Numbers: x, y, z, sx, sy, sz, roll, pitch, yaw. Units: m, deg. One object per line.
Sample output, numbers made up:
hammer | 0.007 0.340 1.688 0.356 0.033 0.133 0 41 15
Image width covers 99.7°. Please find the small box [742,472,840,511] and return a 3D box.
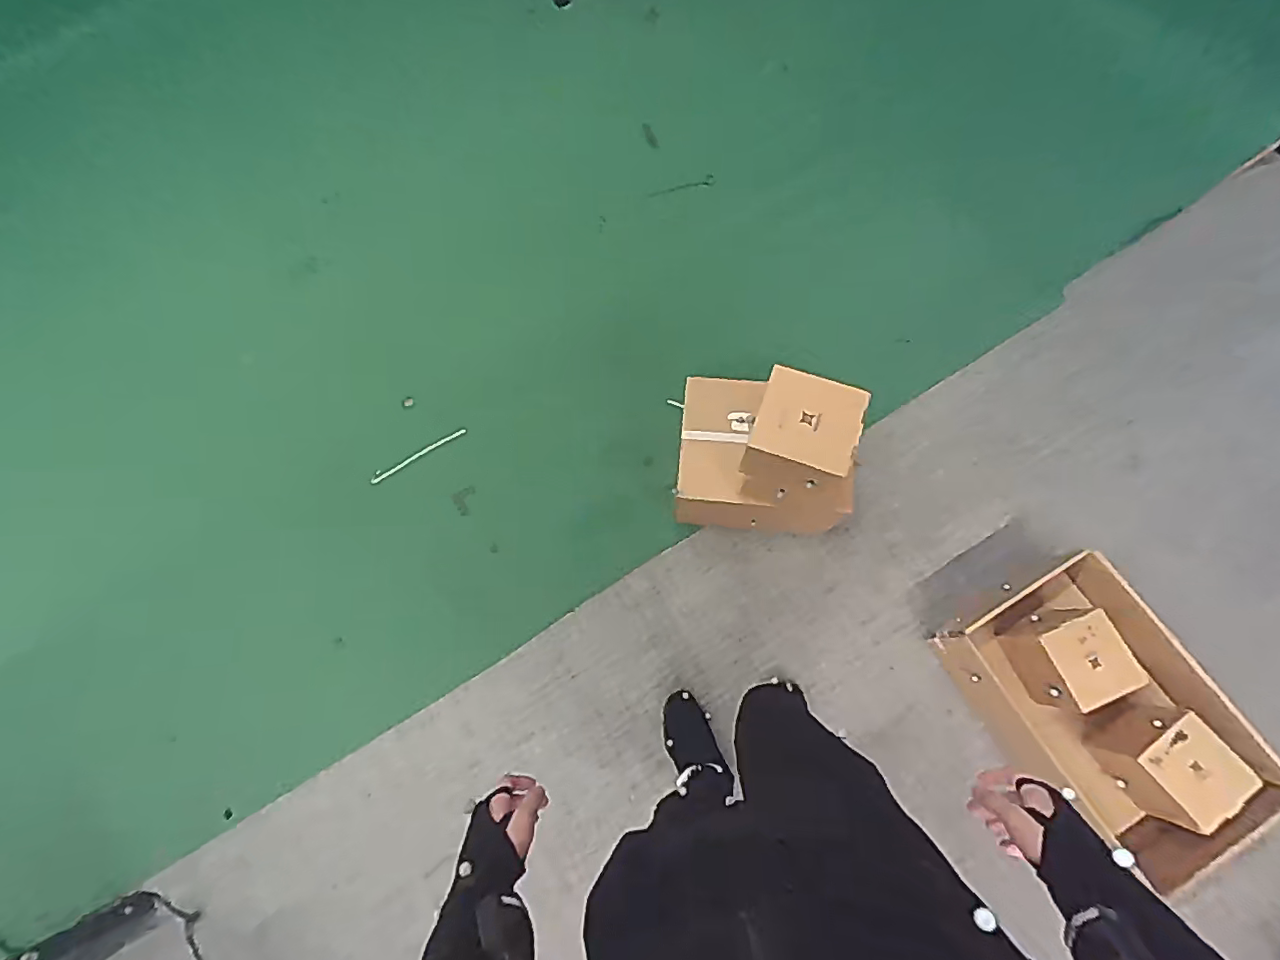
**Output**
small box | 0.328 -0.040 1.153 0.179 0.176 0.168 15 78 8

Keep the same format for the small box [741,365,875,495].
small box | 0.300 -0.082 0.997 0.179 0.176 0.168 19 77 10

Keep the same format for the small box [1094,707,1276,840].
small box | 1.160 0.619 1.168 0.168 0.176 0.179 -36 74 -5

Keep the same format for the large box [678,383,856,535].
large box | 0.312 -0.041 1.408 0.408 0.320 0.320 4 74 6
